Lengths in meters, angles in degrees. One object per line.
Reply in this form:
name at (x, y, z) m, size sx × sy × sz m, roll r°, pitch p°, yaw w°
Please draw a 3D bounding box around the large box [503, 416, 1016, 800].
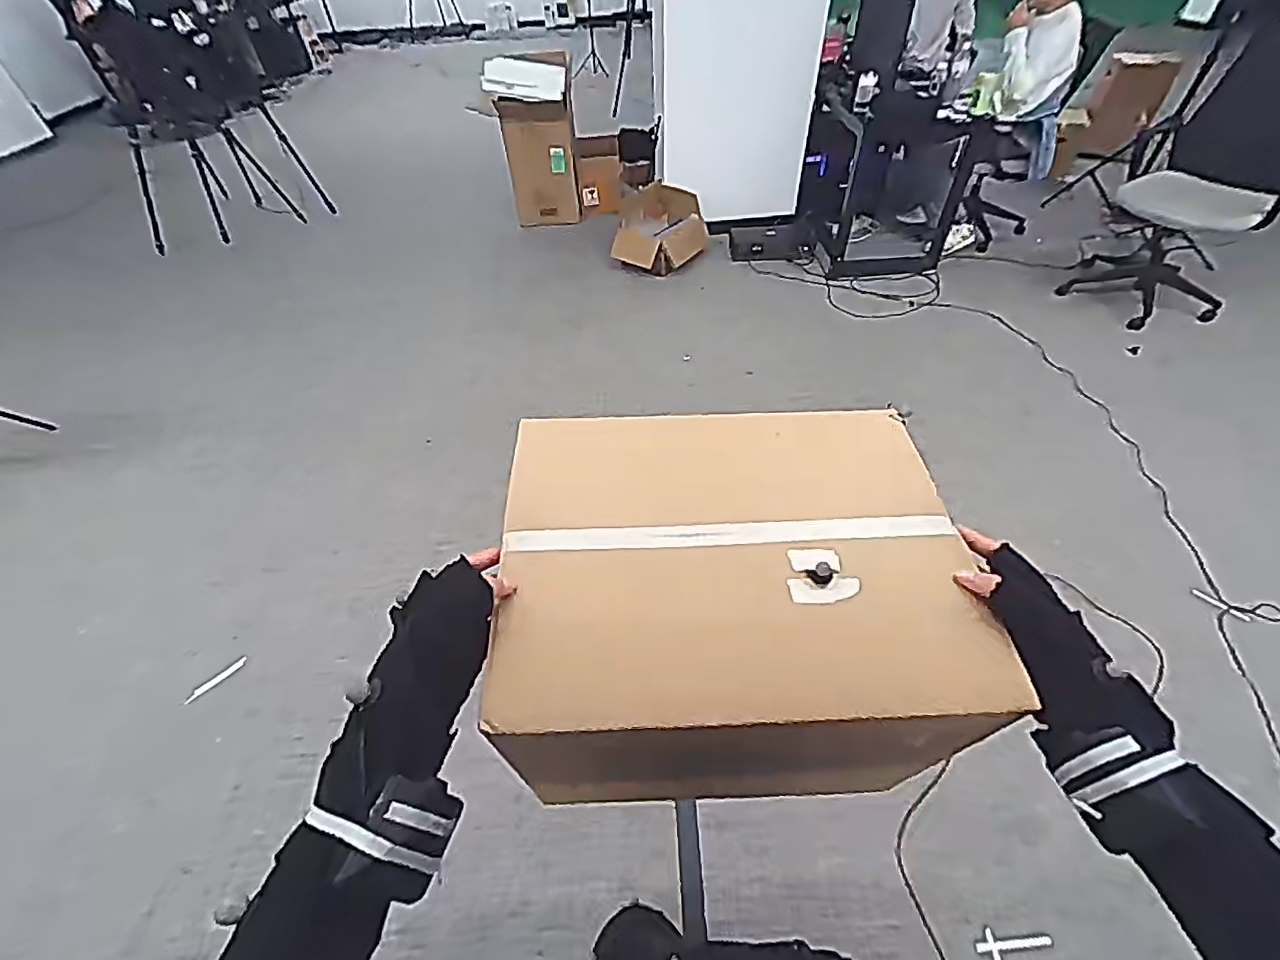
large box at (0.083, 0.149, 0.614) m, size 0.408 × 0.320 × 0.320 m, roll -2°, pitch 52°, yaw -2°
